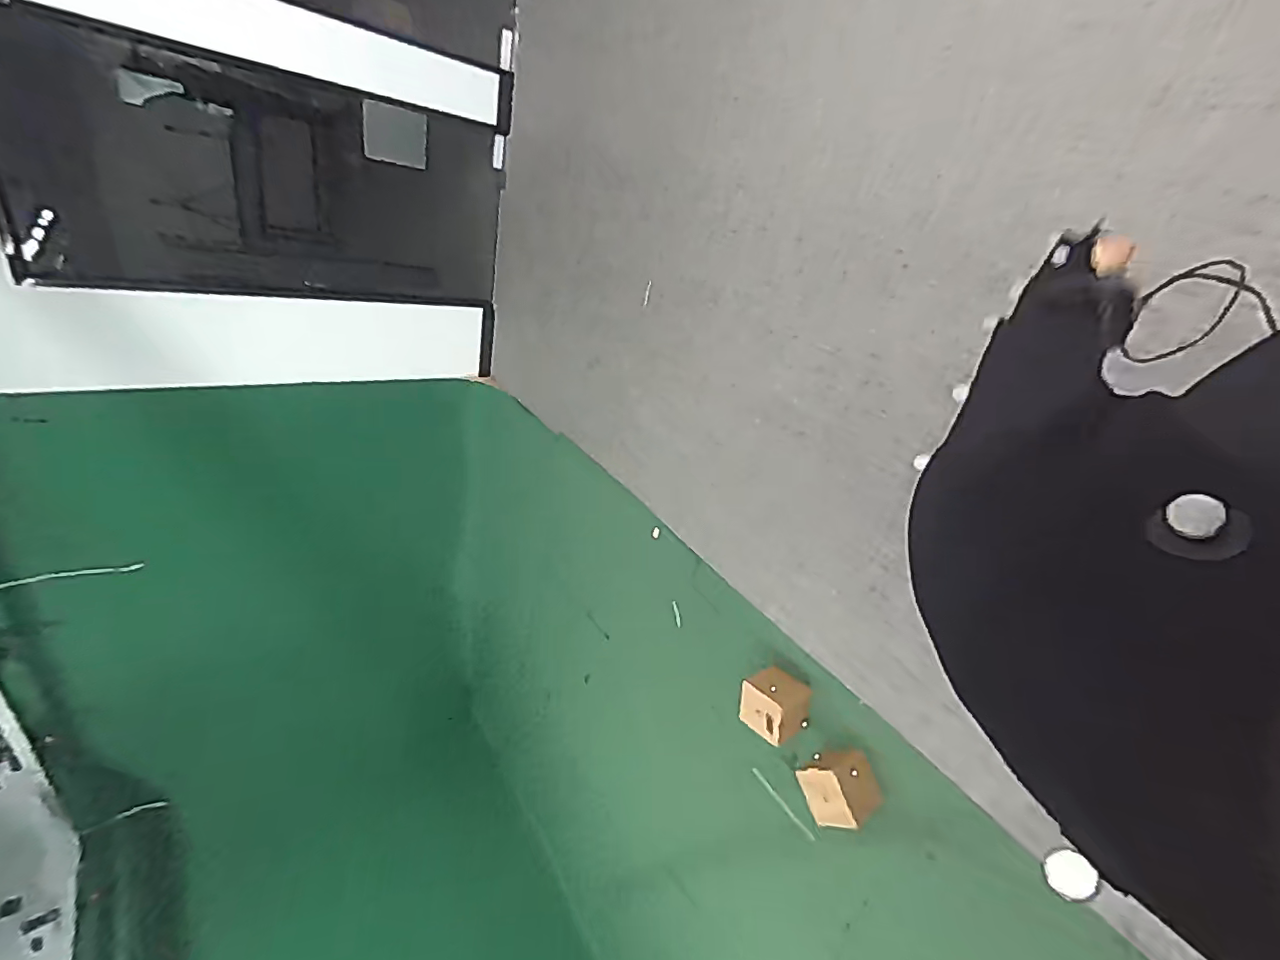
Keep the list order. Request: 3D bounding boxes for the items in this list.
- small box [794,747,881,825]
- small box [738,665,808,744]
[{"bbox_3d":[0.644,0.988,1.763,0.168,0.176,0.179,-40,68,49],"label":"small box"},{"bbox_3d":[0.476,0.790,1.929,0.179,0.176,0.168,22,115,48],"label":"small box"}]
